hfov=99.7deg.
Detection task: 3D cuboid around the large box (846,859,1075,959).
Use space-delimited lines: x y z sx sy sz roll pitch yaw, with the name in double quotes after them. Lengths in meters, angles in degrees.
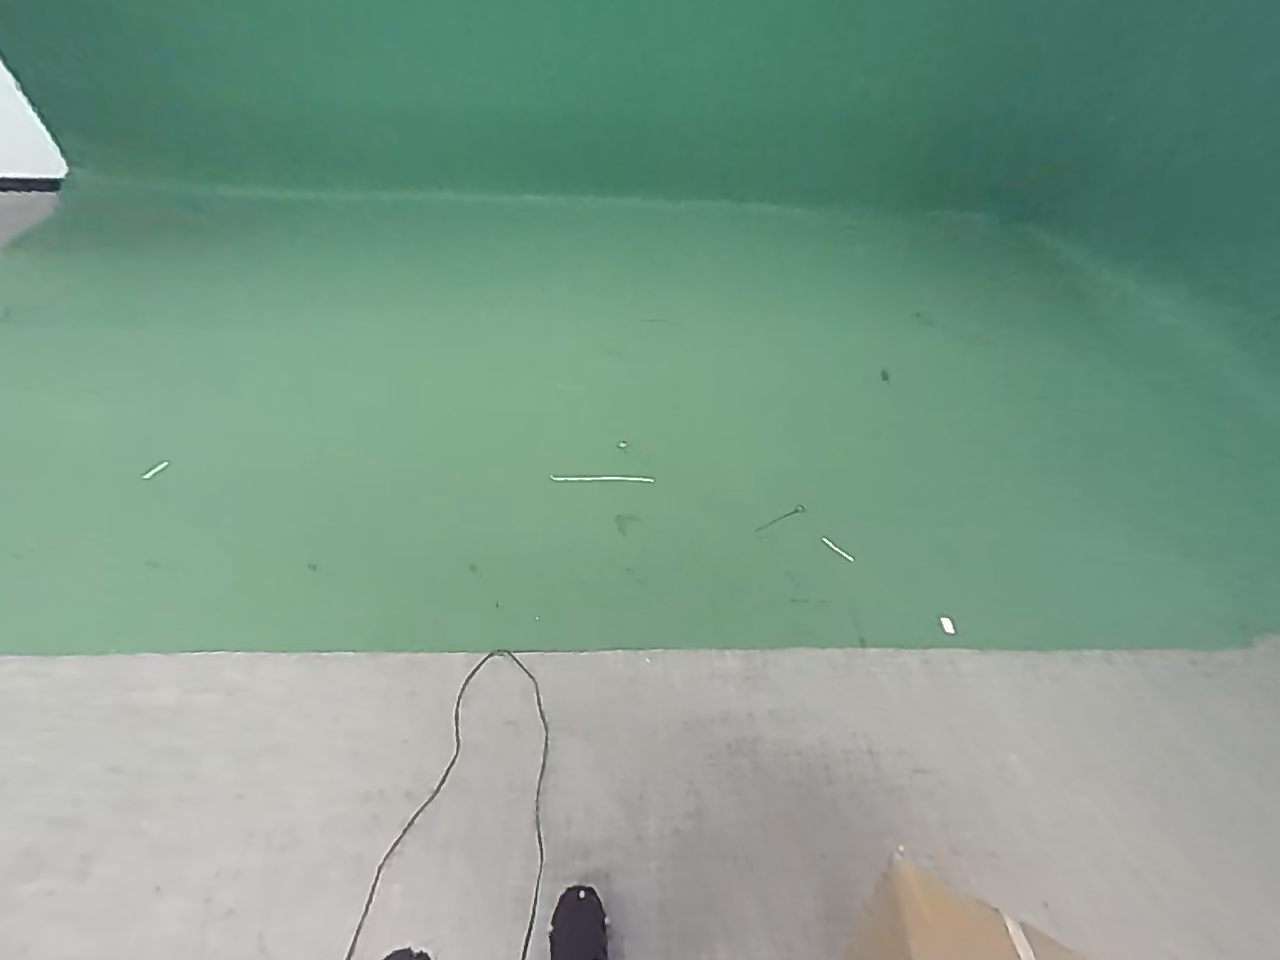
0.393 0.753 0.587 0.320 0.408 0.320 24 95 17 "large box"
